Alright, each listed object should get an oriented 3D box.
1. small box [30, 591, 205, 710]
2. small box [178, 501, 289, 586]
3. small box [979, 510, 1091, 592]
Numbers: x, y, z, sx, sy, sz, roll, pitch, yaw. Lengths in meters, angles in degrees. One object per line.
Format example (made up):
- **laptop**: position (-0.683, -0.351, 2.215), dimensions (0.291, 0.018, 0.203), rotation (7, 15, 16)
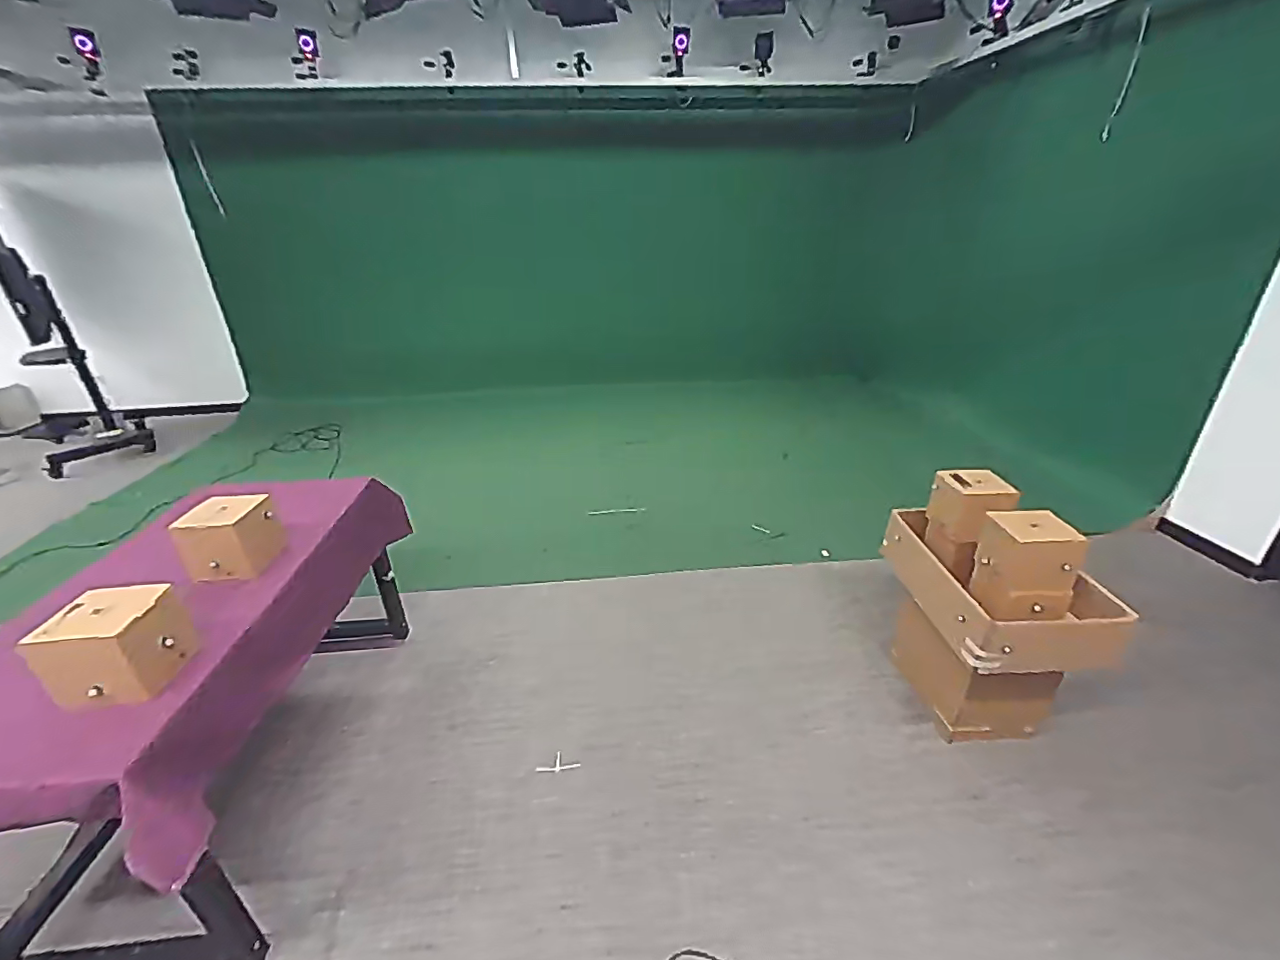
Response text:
- **small box**: position (-1.066, 0.354, 1.127), dimensions (0.179, 0.176, 0.168), rotation (-4, 25, -3)
- **small box**: position (-1.115, 0.175, 1.506), dimensions (0.168, 0.176, 0.179), rotation (-4, 25, -1)
- **small box**: position (1.074, 0.195, 1.487), dimensions (0.179, 0.176, 0.168), rotation (-3, 25, 3)
